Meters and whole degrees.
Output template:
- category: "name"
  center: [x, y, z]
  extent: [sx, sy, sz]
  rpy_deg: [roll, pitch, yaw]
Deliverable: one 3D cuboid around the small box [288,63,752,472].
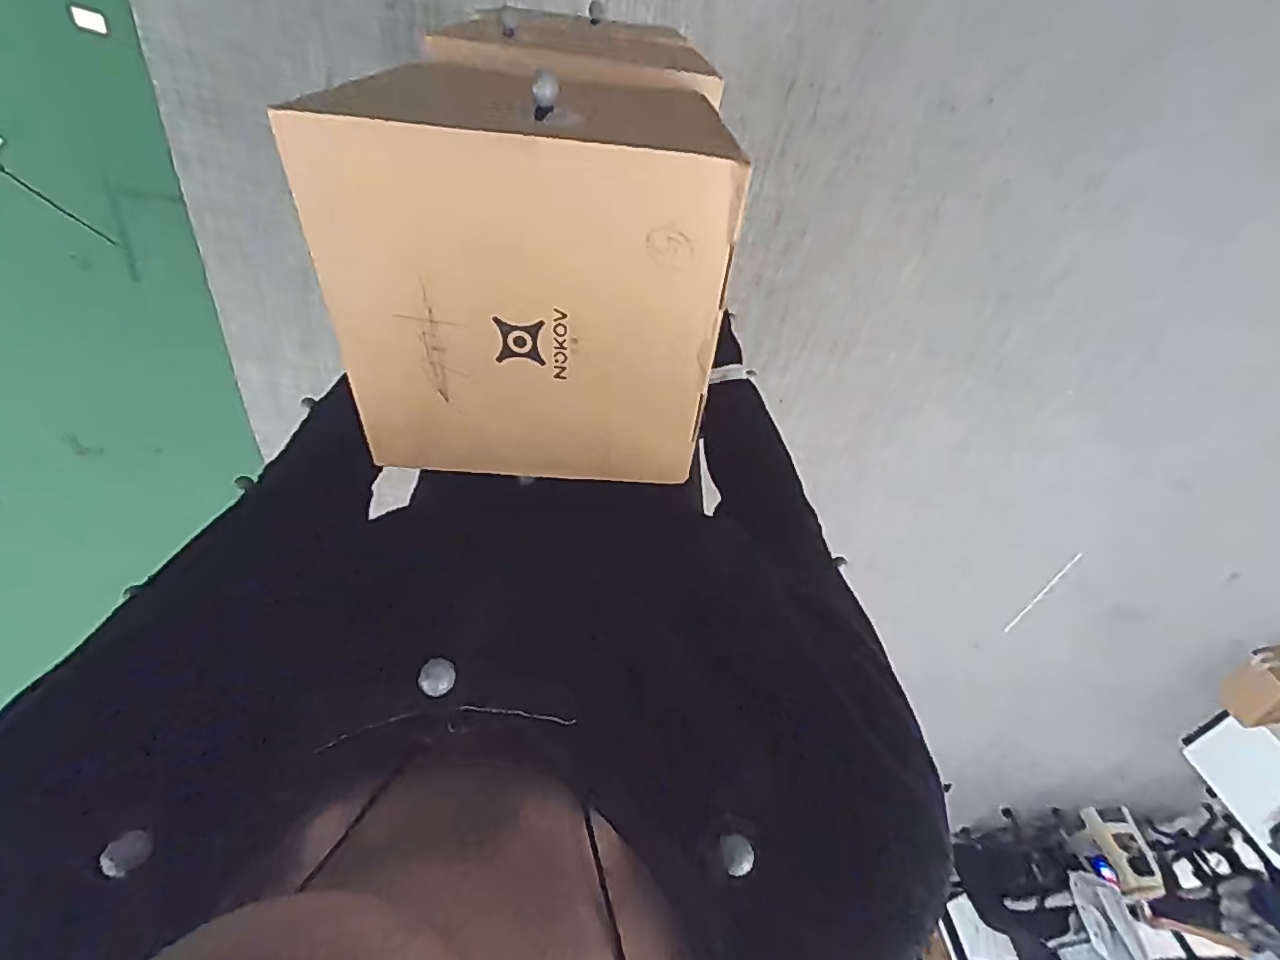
- category: "small box"
  center: [-0.051, -0.124, 0.313]
  extent: [0.179, 0.176, 0.168]
  rpy_deg: [4, 132, -4]
